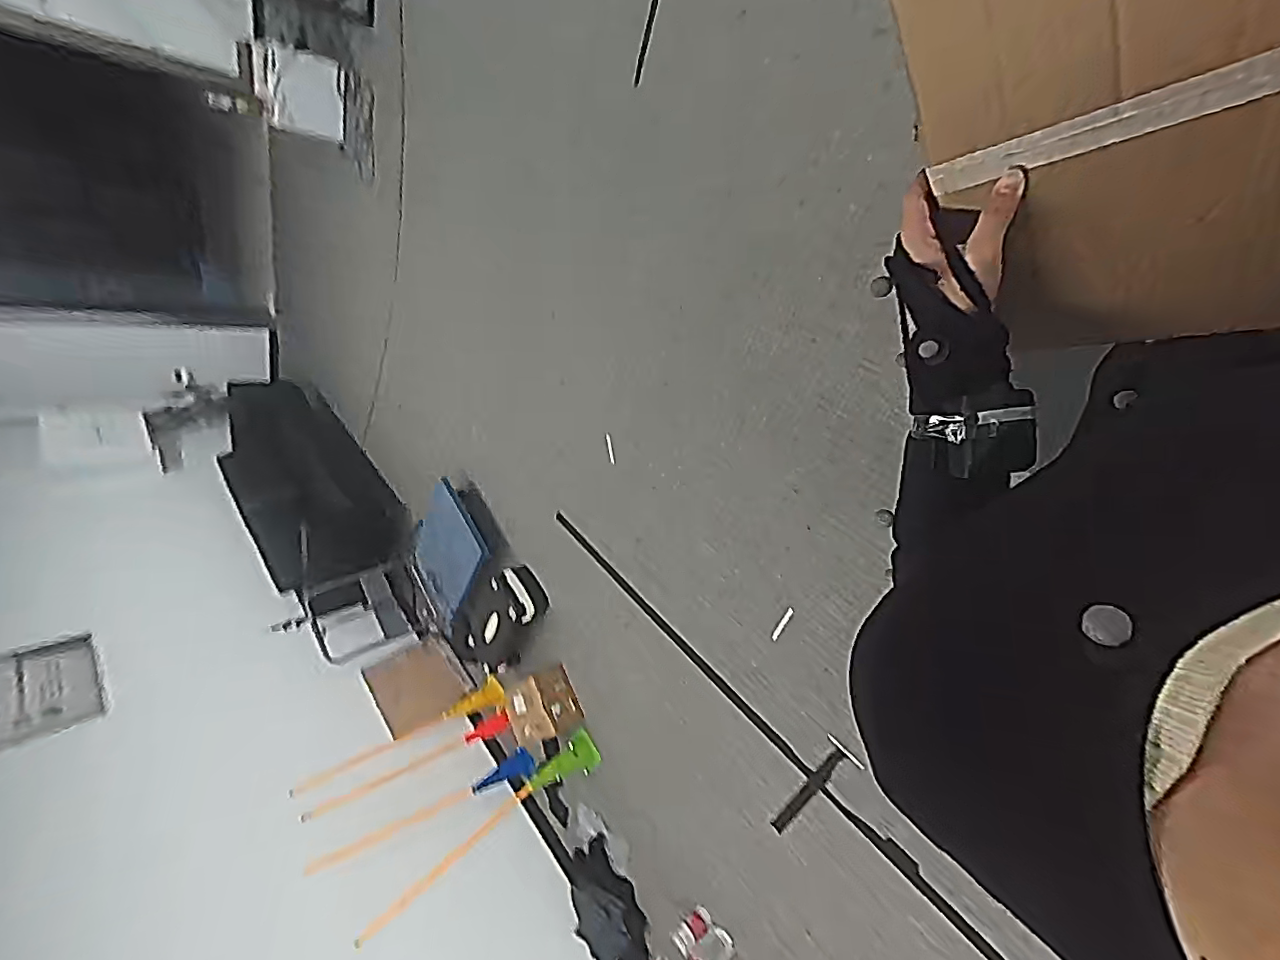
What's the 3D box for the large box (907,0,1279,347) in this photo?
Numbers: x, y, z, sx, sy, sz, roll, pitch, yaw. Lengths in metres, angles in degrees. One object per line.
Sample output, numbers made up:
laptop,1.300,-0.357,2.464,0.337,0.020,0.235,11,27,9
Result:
large box,0.430,-0.316,0.302,0.408,0.320,0.320,5,141,48
